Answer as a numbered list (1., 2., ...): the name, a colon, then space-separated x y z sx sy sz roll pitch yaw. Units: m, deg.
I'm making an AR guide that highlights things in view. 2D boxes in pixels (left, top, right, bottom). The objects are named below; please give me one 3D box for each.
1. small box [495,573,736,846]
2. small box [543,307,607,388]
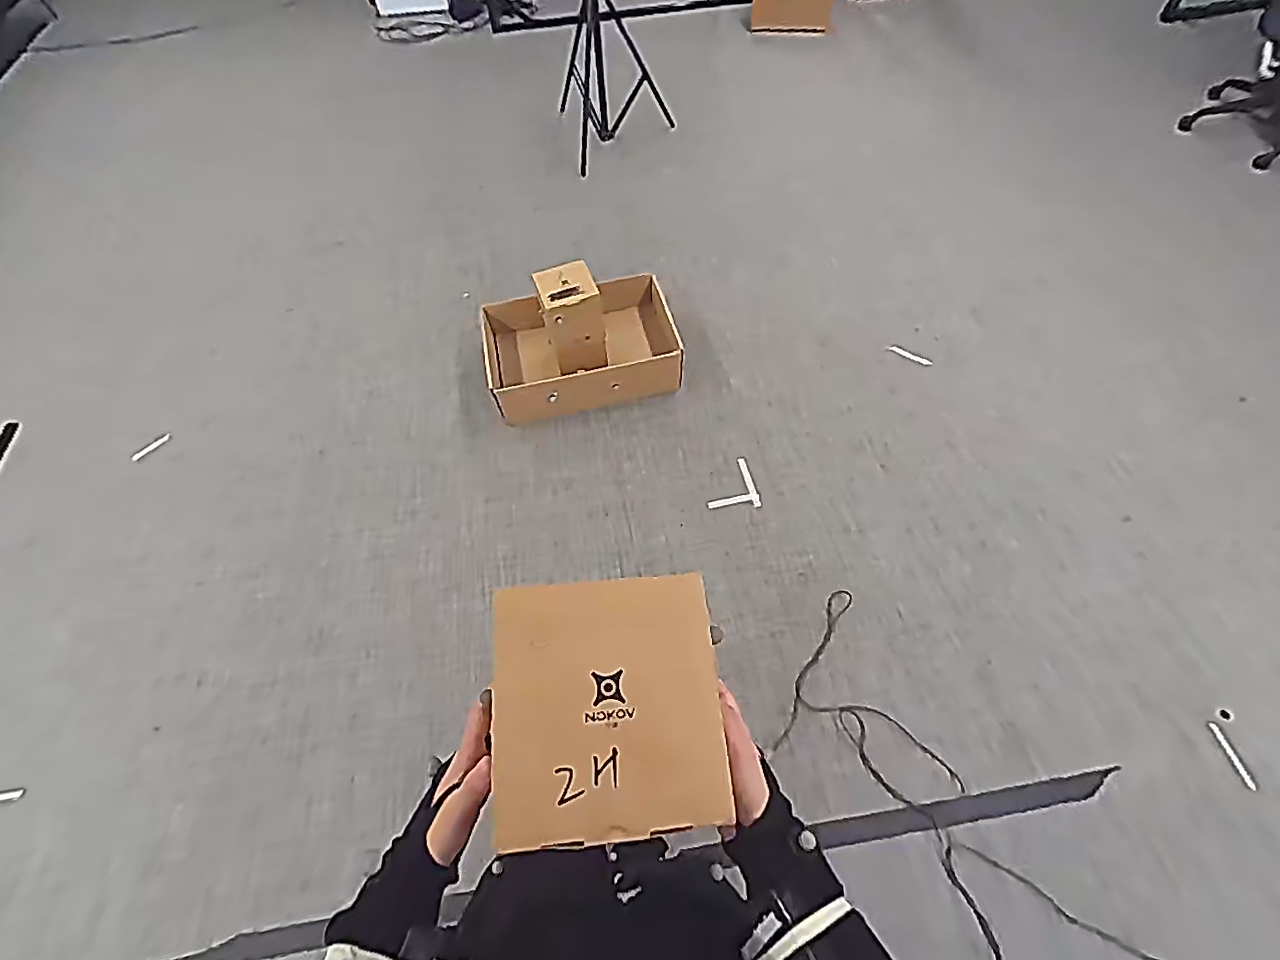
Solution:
1. small box: -0.028 0.190 0.468 0.168 0.176 0.179 -3 67 -6
2. small box: -0.215 -0.441 1.812 0.168 0.176 0.179 -18 61 -7
